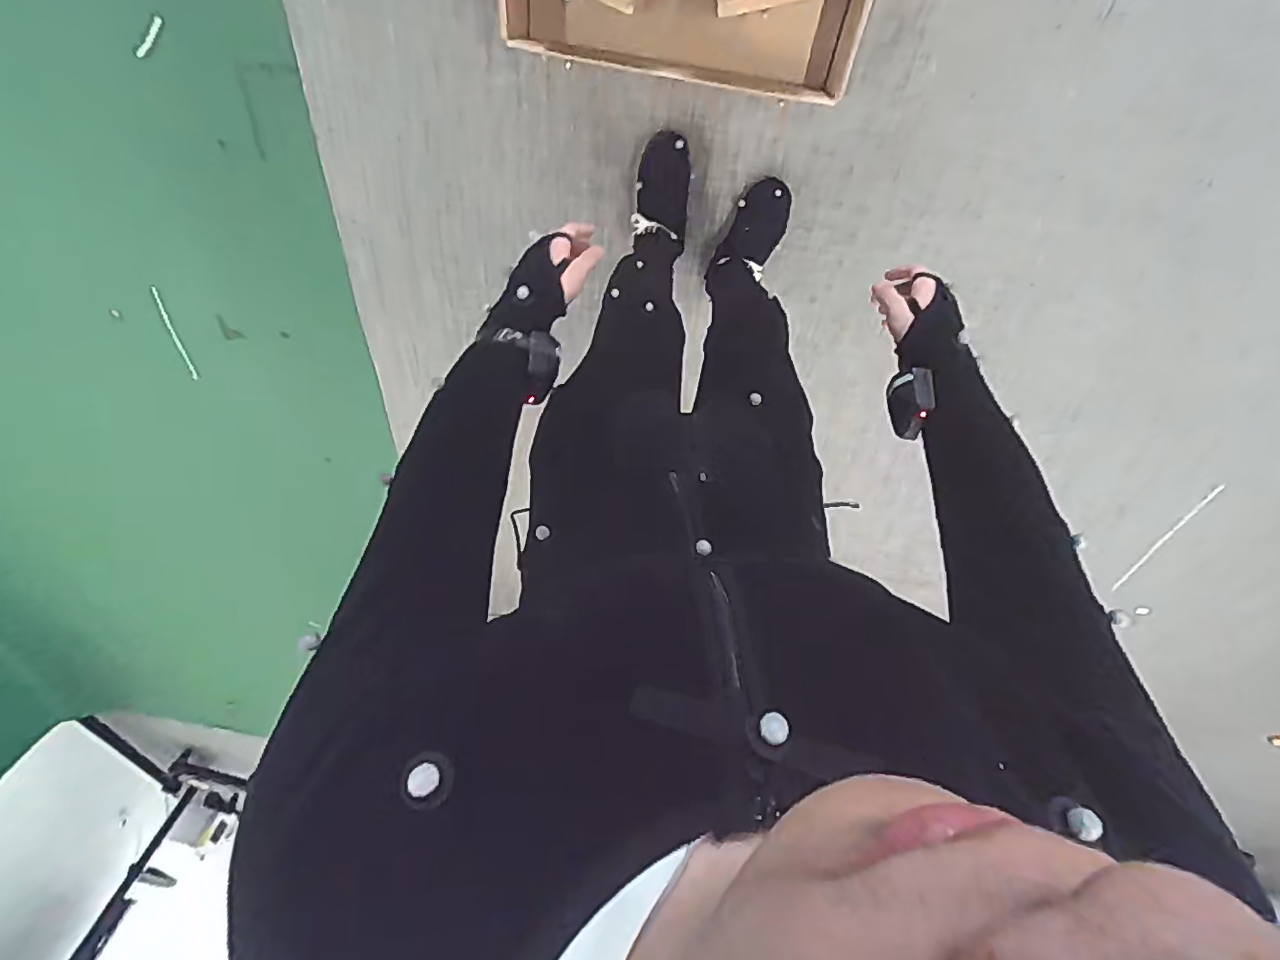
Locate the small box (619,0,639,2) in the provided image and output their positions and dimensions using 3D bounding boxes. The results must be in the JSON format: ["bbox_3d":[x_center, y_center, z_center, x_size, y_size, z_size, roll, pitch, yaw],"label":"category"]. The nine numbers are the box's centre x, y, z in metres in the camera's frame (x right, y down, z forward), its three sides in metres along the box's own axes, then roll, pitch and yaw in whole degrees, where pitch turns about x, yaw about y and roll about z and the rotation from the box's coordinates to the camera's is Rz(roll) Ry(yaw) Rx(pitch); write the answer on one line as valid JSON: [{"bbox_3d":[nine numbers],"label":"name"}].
[{"bbox_3d":[-0.068,-0.799,0.760,0.179,0.176,0.168,13,131,-2],"label":"small box"}]

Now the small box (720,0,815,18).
[{"bbox_3d":[0.211,-0.869,0.864,0.168,0.176,0.179,-1,130,13],"label":"small box"}]
